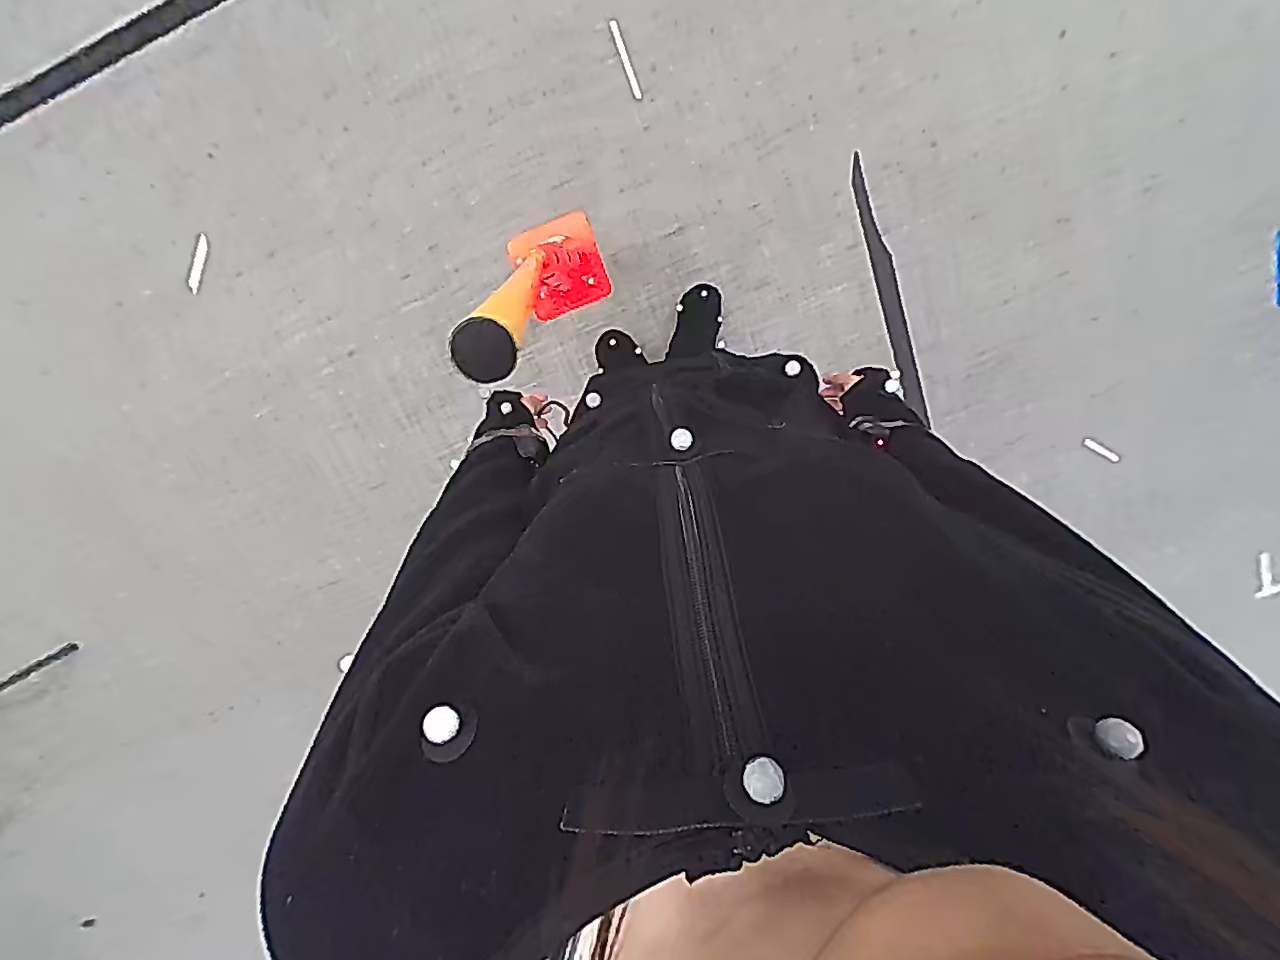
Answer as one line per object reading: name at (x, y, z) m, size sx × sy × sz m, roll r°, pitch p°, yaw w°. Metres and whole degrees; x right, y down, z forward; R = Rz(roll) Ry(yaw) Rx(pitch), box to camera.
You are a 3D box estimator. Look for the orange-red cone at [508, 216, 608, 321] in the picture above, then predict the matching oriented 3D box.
orange-red cone at (-0.187, -0.440, 1.108) m, size 0.198 × 0.360 × 0.199 m, roll -19°, pitch 107°, yaw 5°
